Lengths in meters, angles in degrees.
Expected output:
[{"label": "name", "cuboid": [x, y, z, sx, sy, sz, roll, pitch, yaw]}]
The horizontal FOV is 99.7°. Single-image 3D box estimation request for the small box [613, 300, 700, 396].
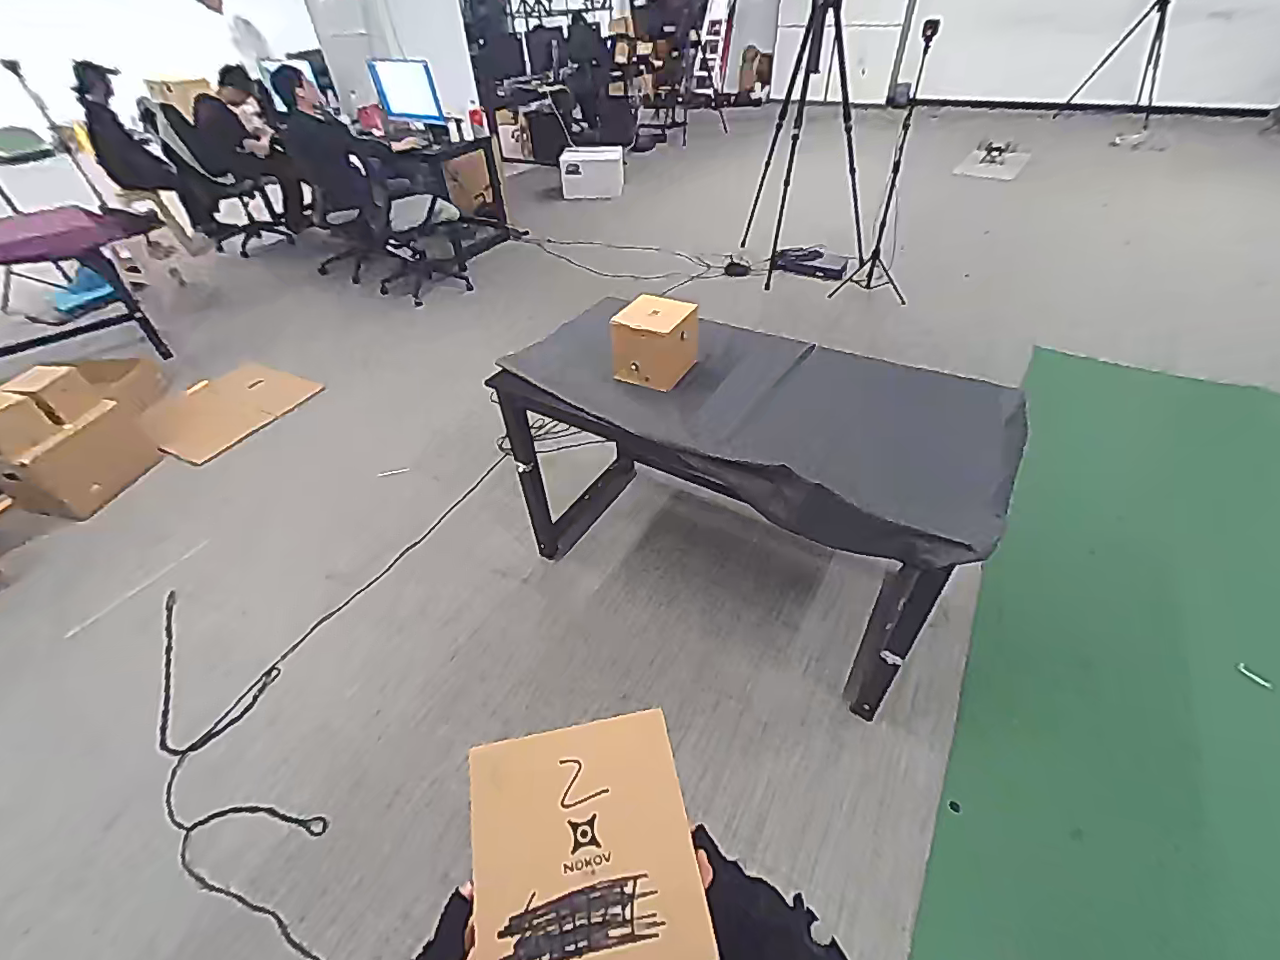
[{"label": "small box", "cuboid": [0.044, -0.350, 1.430, 0.168, 0.176, 0.179, 20, 48, 23]}]
